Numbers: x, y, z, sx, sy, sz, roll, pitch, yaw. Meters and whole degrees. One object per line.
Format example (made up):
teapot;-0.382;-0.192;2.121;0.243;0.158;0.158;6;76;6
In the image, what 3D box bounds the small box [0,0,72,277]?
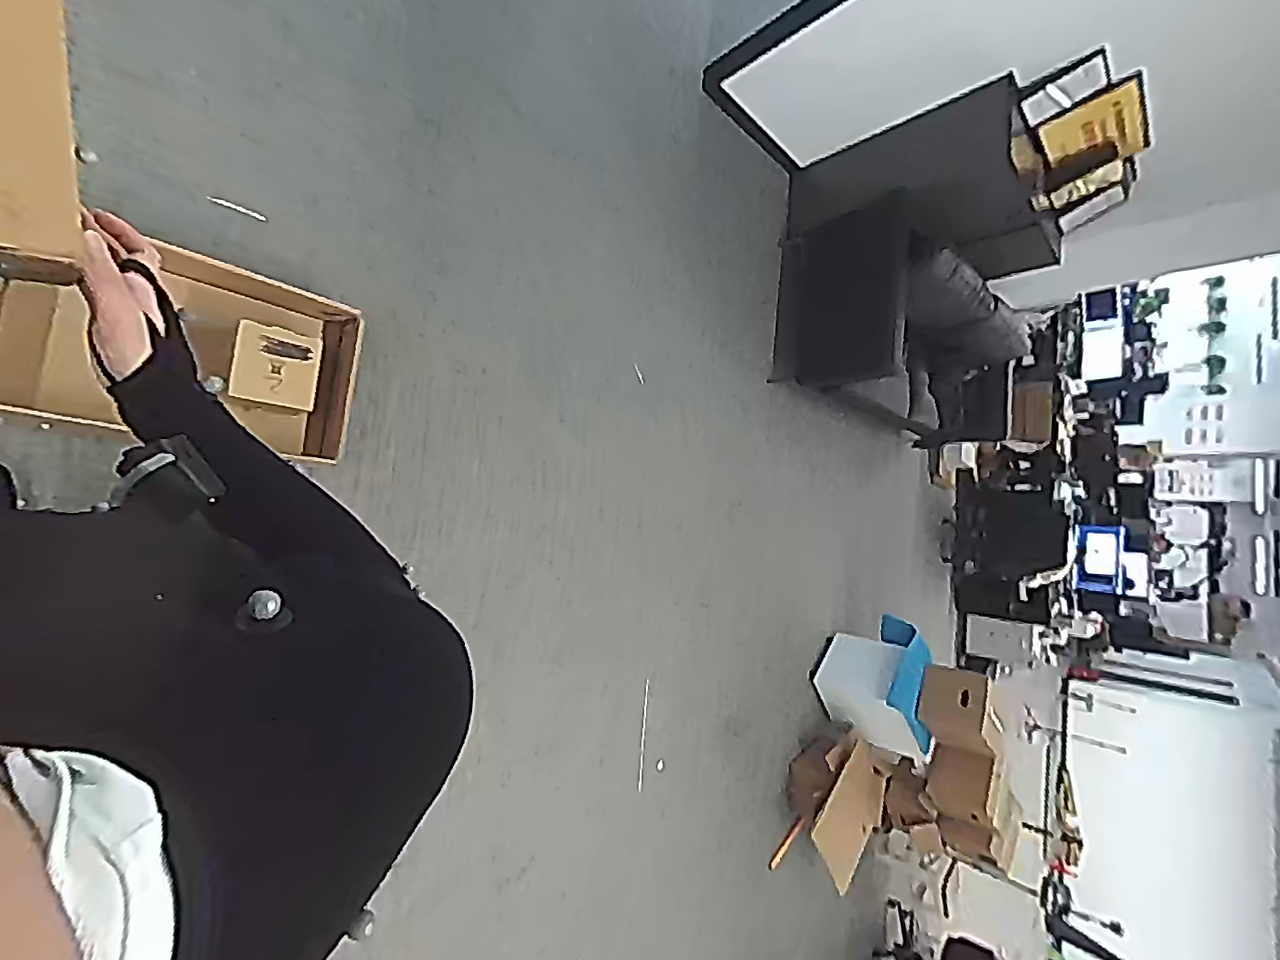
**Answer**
small box;-0.490;-0.239;0.347;0.168;0.176;0.179;-6;102;-49
